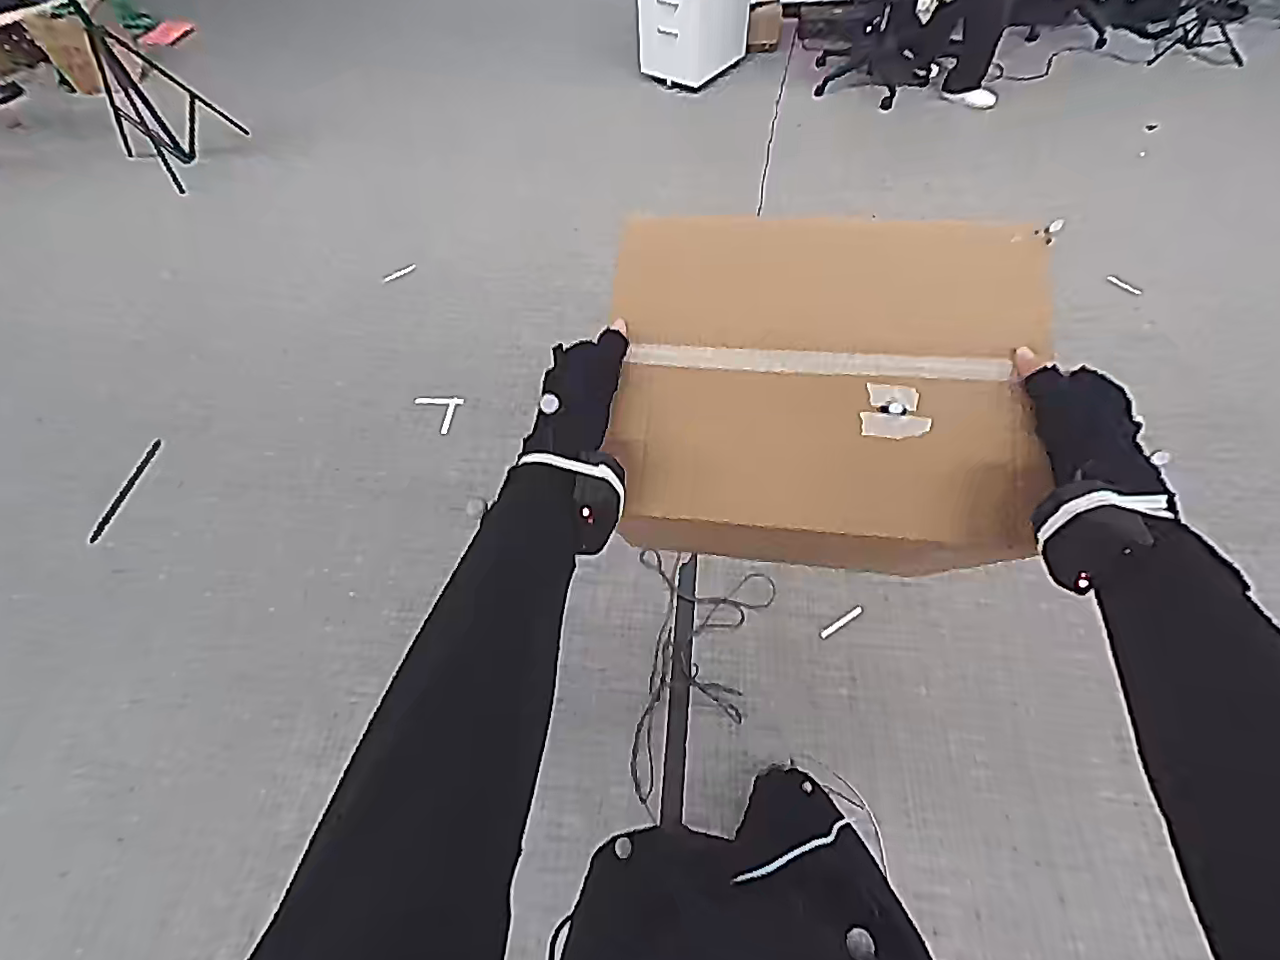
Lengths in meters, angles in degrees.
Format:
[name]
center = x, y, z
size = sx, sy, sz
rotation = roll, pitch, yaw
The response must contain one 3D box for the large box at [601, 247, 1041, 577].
[large box]
center = 0.184, -0.058, 0.675
size = 0.408, 0.320, 0.320
rotation = 4, 77, 7
